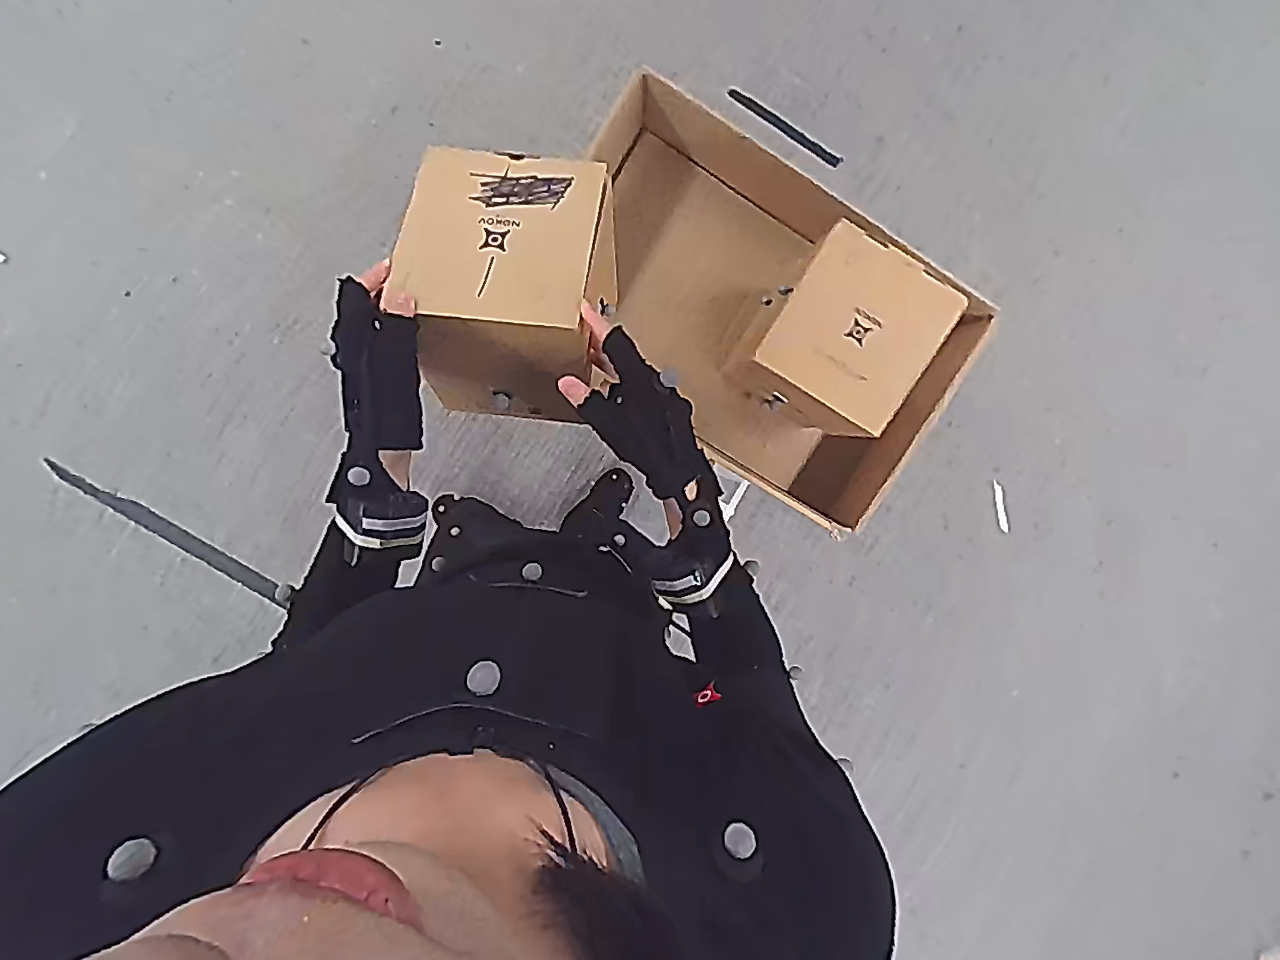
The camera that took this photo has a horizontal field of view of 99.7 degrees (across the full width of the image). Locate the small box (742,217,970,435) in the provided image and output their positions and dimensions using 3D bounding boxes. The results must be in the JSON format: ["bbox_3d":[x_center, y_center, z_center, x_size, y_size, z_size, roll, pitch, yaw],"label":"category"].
[{"bbox_3d":[0.241,-0.172,0.659,0.168,0.176,0.179,32,97,-1],"label":"small box"}]

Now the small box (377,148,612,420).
[{"bbox_3d":[-0.119,-0.180,0.528,0.168,0.176,0.179,6,70,2],"label":"small box"}]

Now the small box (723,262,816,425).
[{"bbox_3d":[0.249,-0.194,0.821,0.179,0.176,0.168,32,95,-3],"label":"small box"}]
